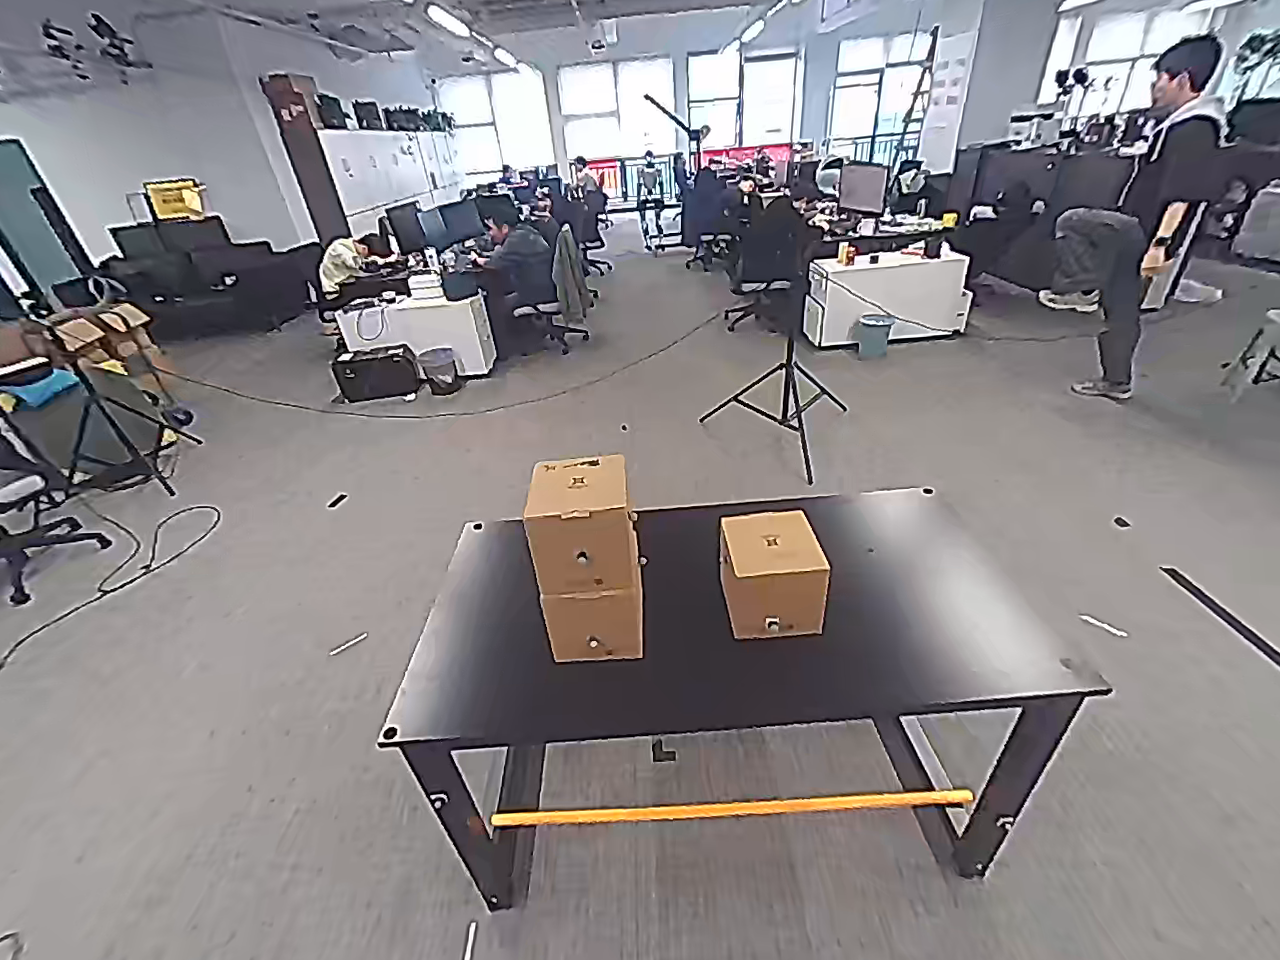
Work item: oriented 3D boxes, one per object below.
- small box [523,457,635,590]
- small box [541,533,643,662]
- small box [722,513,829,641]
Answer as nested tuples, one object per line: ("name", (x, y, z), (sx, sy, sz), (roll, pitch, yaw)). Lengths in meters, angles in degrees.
("small box", (-0.099, 0.081, 0.957), (0.168, 0.176, 0.179), (-5, 33, 0))
("small box", (-0.084, 0.223, 1.036), (0.168, 0.176, 0.179), (-4, 32, 3))
("small box", (0.251, 0.186, 1.050), (0.168, 0.176, 0.179), (-6, 33, 1))
